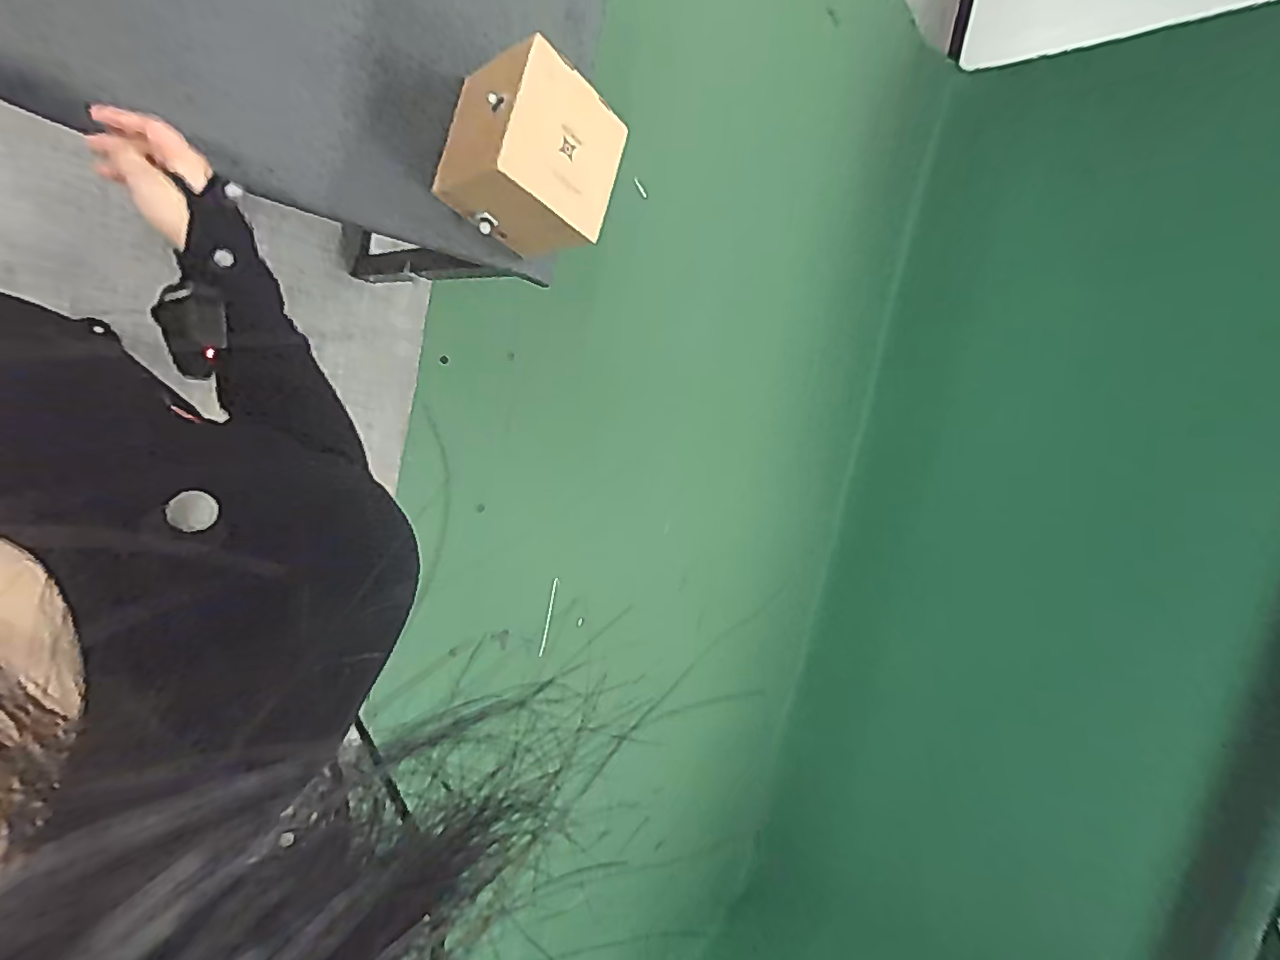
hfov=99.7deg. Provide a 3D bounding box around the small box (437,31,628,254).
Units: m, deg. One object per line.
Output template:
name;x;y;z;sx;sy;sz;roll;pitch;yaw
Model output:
small box;-0.148;-0.434;0.732;0.168;0.176;0.179;19;86;-47
